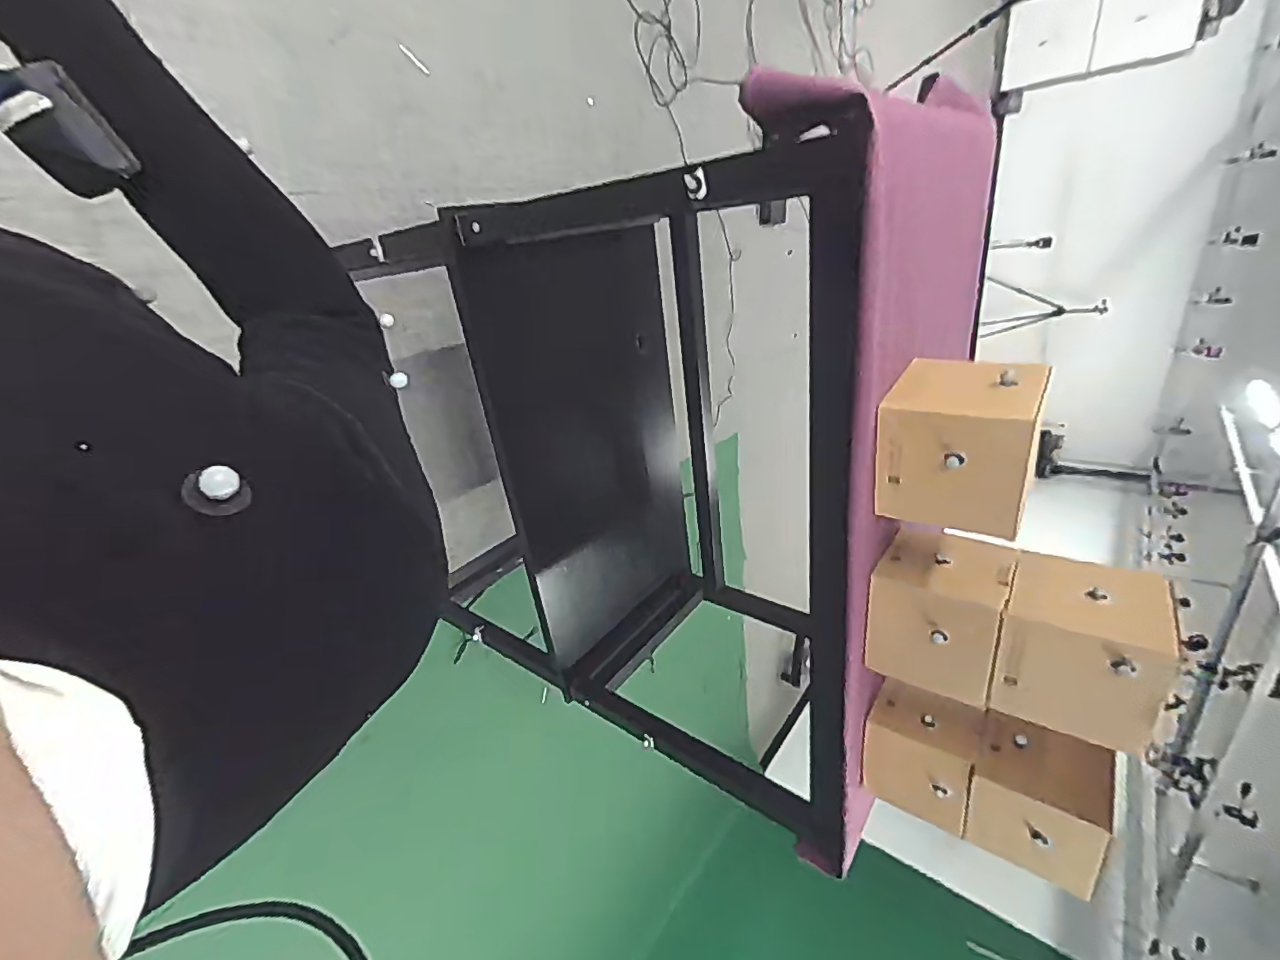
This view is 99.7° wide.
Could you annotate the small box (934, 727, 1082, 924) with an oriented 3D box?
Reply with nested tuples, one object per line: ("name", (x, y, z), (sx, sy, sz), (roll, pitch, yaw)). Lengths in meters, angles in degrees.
("small box", (0.583, 0.539, 0.868), (0.168, 0.176, 0.179), (-36, 125, -43))

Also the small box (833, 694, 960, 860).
("small box", (0.454, 0.511, 0.966), (0.168, 0.176, 0.179), (-28, 122, -47))

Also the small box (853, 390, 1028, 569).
("small box", (0.394, -0.012, 0.720), (0.179, 0.176, 0.168), (-39, 130, -42))

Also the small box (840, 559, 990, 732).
("small box", (0.417, 0.236, 0.829), (0.168, 0.176, 0.179), (-30, 123, -45))
